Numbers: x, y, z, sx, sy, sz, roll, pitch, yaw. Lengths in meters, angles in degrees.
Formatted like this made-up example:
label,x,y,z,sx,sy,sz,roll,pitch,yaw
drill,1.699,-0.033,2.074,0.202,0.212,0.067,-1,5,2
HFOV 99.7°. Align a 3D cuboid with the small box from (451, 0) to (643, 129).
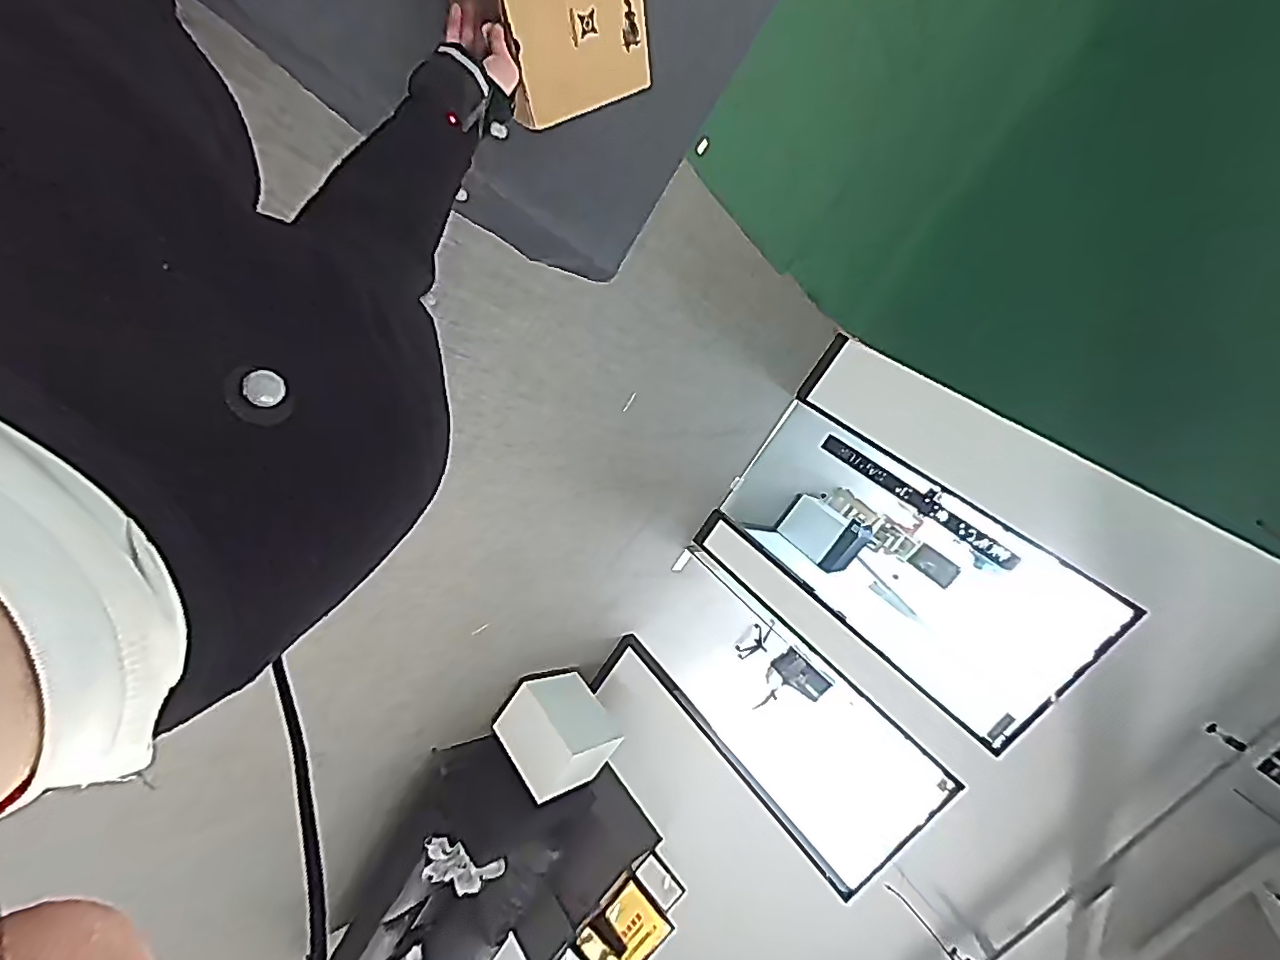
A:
label,x,y,z,sx,sy,sz,roll,pitch,yaw
small box,-0.119,-0.562,0.661,0.179,0.176,0.168,-31,145,-17
